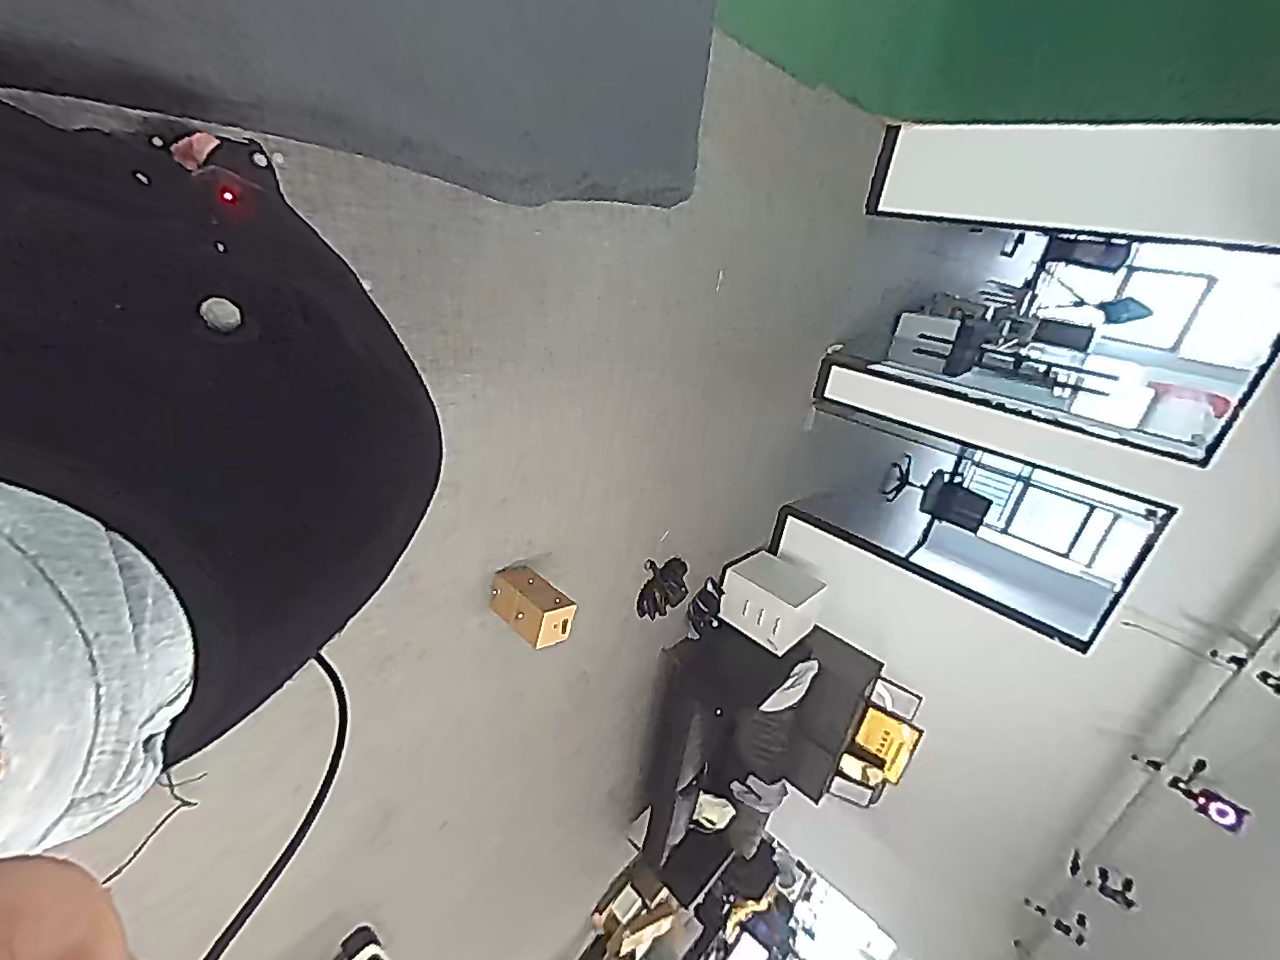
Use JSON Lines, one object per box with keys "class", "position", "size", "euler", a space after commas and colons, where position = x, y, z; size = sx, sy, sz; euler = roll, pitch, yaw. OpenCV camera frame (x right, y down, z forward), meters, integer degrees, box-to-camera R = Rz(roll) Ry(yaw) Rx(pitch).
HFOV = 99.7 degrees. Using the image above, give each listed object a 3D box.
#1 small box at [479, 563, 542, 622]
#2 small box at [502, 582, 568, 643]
{"class": "small box", "position": [-0.551, 0.470, 2.294], "size": [0.179, 0.176, 0.168], "euler": [-5, 114, -51]}
{"class": "small box", "position": [-0.429, 0.532, 2.202], "size": [0.179, 0.176, 0.168], "euler": [-3, 113, -52]}
